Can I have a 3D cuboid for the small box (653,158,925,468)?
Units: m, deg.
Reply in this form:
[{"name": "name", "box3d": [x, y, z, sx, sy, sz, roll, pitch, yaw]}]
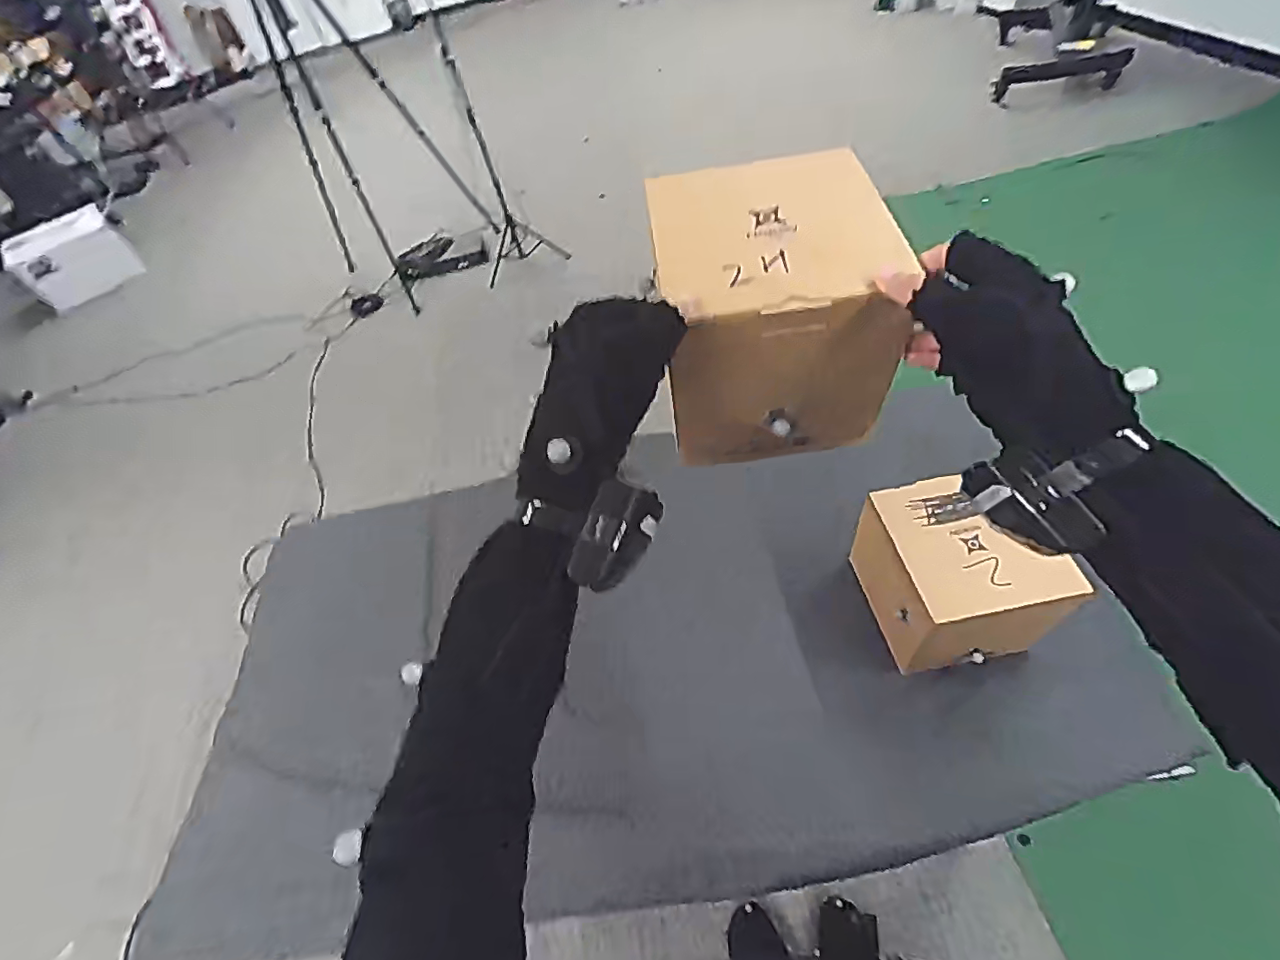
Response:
[{"name": "small box", "box3d": [0.103, -0.133, 0.454, 0.168, 0.176, 0.179, -7, 57, 4]}]
